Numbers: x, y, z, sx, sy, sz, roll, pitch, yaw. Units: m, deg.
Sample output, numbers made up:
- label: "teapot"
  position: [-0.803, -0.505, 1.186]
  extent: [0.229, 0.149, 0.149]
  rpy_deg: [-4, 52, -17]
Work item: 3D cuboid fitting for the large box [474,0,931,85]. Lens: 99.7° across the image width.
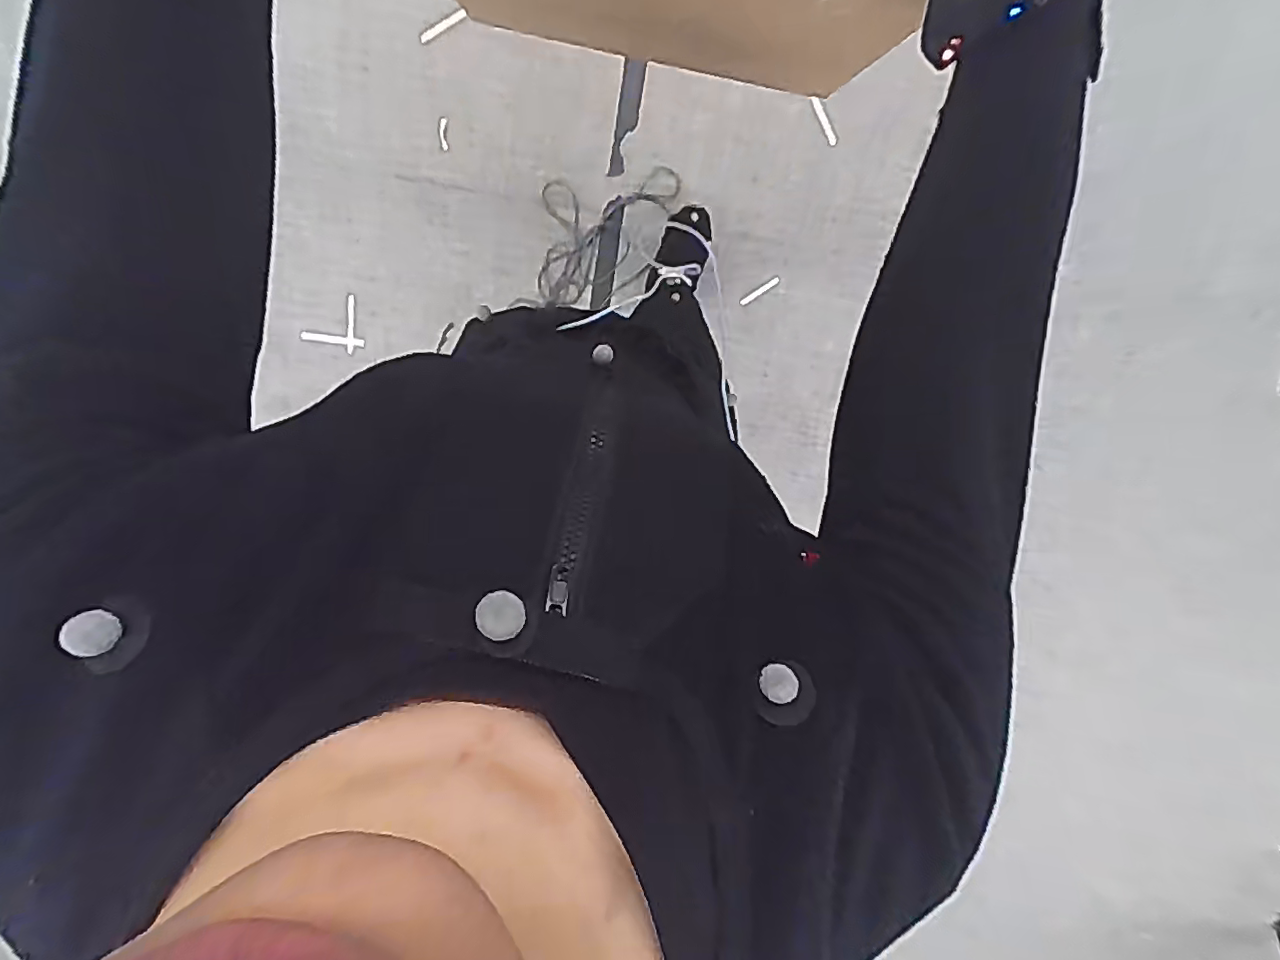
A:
- label: "large box"
  position: [0.045, -0.551, 0.407]
  extent: [0.408, 0.320, 0.320]
  rpy_deg: [10, 115, -4]
